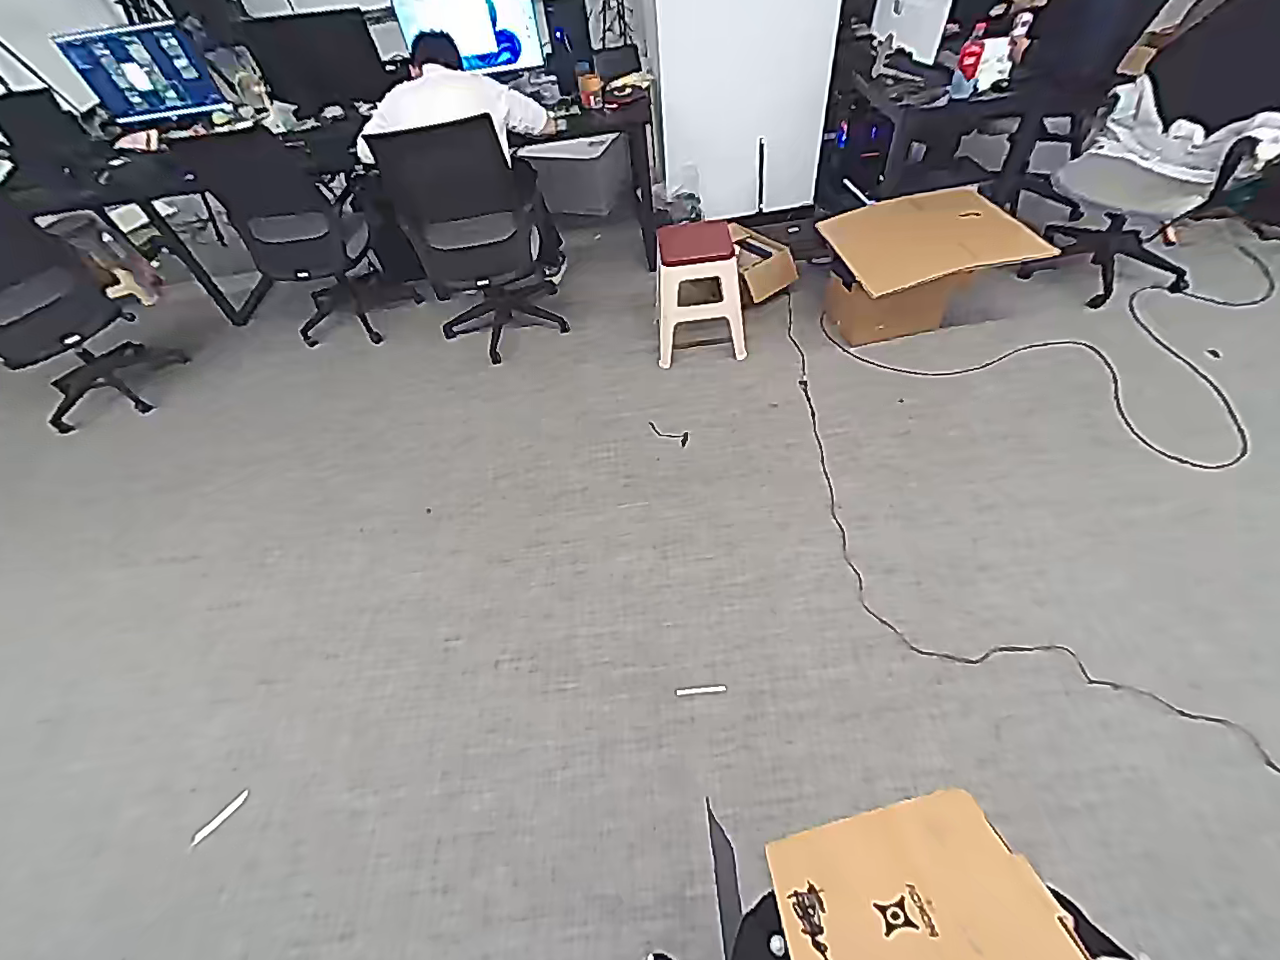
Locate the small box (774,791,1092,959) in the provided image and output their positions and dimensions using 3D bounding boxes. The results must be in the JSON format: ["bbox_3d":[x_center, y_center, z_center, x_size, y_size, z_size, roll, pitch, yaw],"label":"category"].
[{"bbox_3d":[0.220,0.380,0.399,0.179,0.176,0.168,-19,11,5],"label":"small box"}]
